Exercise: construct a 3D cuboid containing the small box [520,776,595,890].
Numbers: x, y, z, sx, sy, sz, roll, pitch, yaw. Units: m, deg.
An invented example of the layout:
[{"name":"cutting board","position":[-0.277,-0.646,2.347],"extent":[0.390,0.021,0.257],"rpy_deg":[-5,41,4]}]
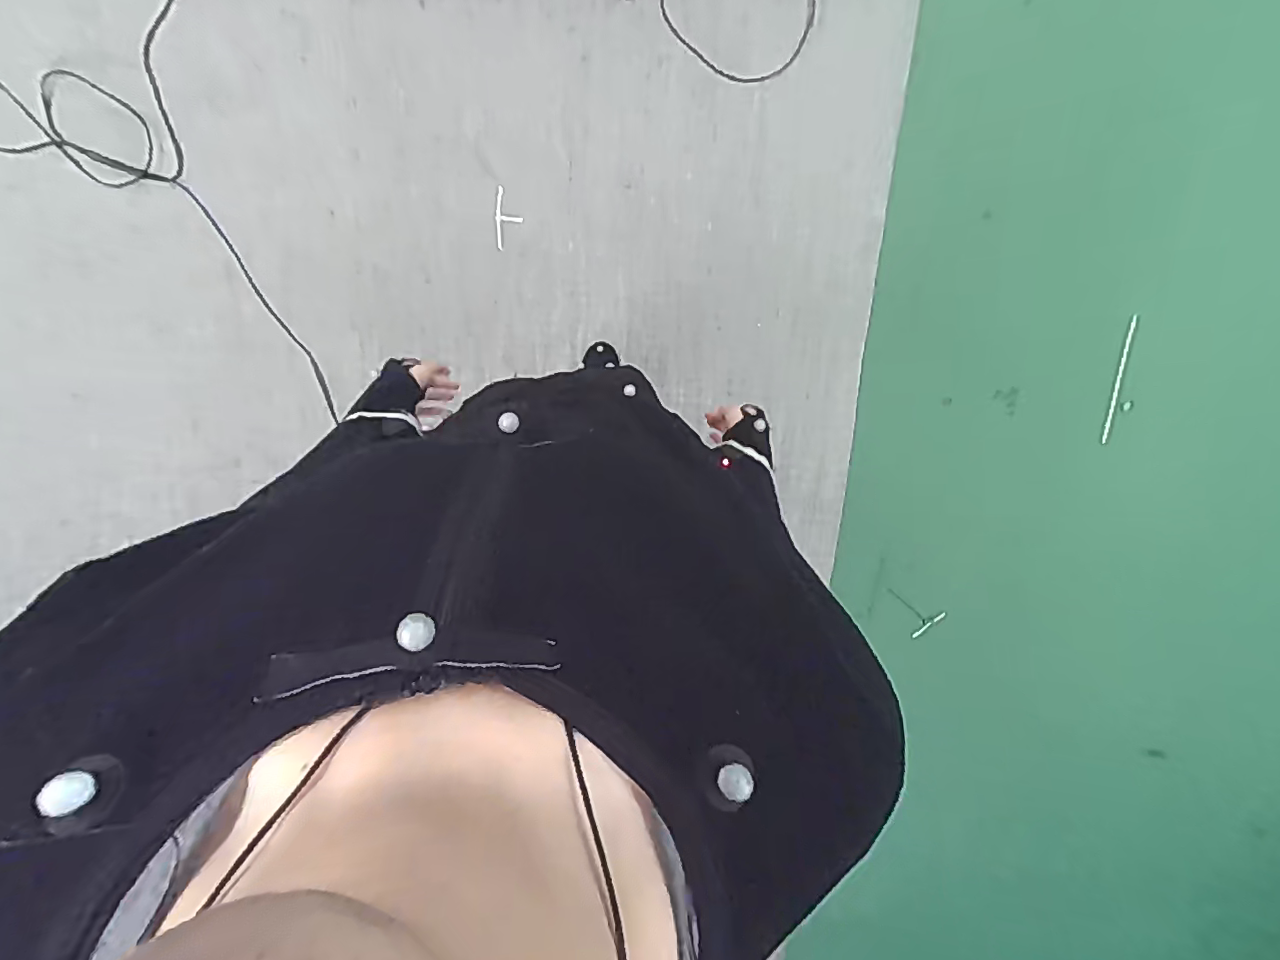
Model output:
[{"name":"small box","position":[-0.206,0.898,1.383],"extent":[0.168,0.176,0.179],"rpy_deg":[7,101,-7]}]
